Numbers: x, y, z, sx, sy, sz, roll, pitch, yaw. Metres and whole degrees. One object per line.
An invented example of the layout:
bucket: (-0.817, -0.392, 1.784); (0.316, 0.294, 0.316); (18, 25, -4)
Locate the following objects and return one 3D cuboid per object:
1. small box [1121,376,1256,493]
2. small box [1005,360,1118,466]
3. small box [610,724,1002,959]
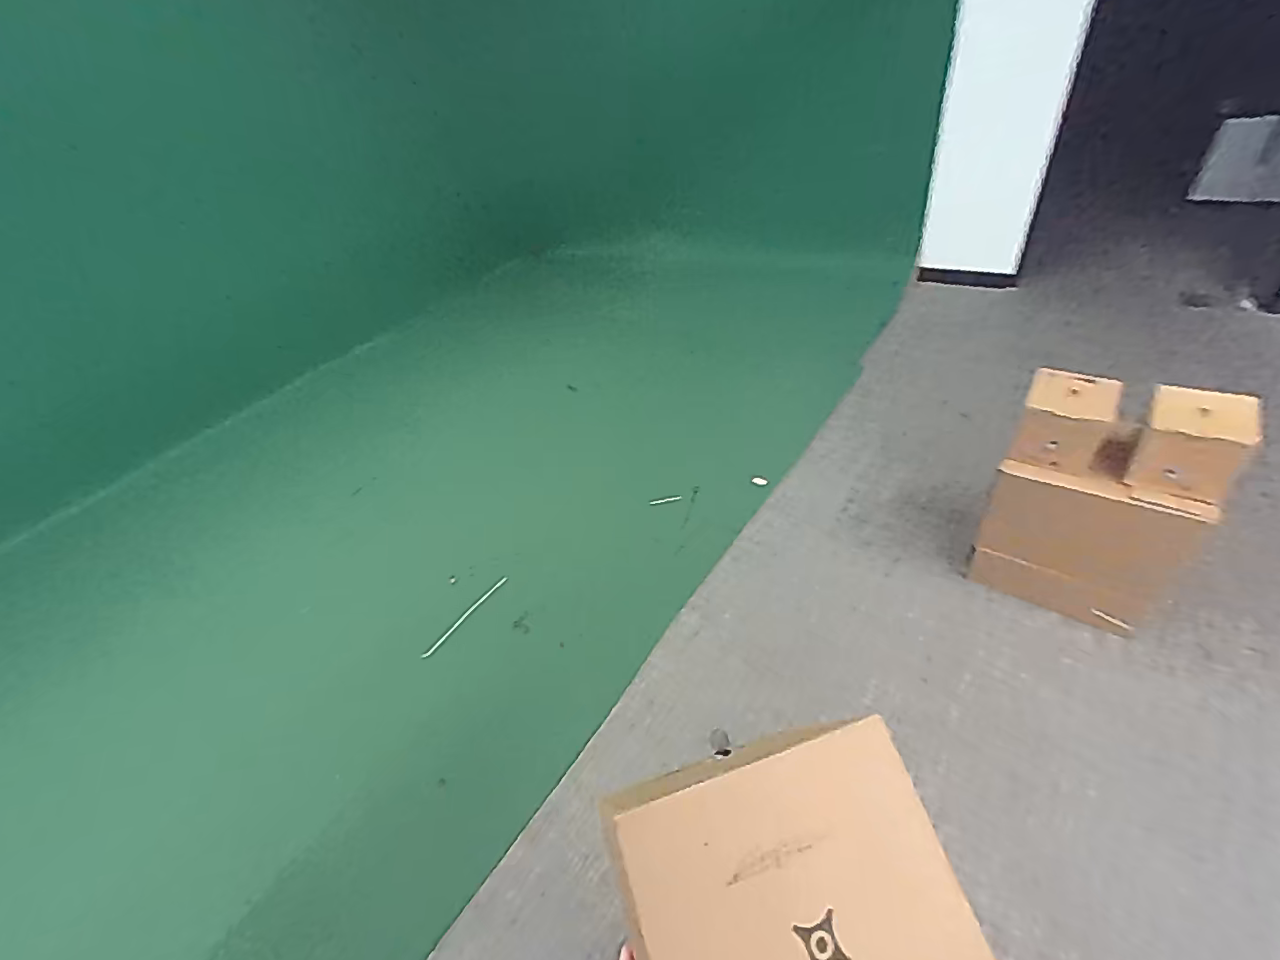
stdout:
small box: (1.214, -0.103, 1.205); (0.168, 0.176, 0.179); (19, 52, 33)
small box: (1.020, -0.162, 1.320); (0.168, 0.176, 0.179); (22, 55, 31)
small box: (0.084, 0.264, 0.332); (0.168, 0.176, 0.179); (-12, 66, -14)
